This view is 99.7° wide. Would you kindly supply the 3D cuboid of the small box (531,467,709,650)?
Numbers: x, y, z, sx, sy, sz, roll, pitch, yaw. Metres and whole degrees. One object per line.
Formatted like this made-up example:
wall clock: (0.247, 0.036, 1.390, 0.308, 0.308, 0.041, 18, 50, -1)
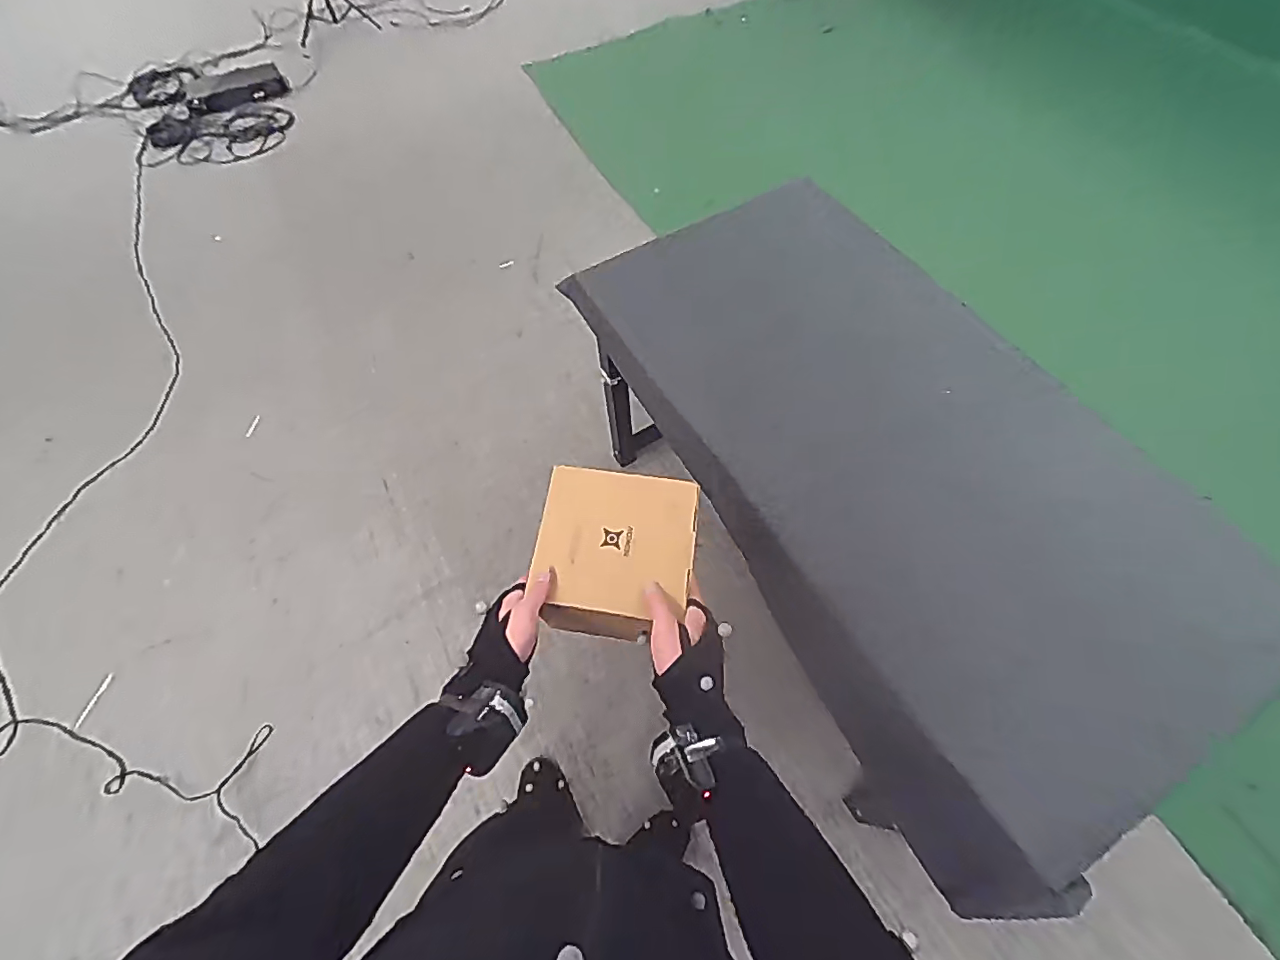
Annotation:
small box: (-0.018, 0.103, 0.657, 0.179, 0.176, 0.168, 6, 62, 3)
